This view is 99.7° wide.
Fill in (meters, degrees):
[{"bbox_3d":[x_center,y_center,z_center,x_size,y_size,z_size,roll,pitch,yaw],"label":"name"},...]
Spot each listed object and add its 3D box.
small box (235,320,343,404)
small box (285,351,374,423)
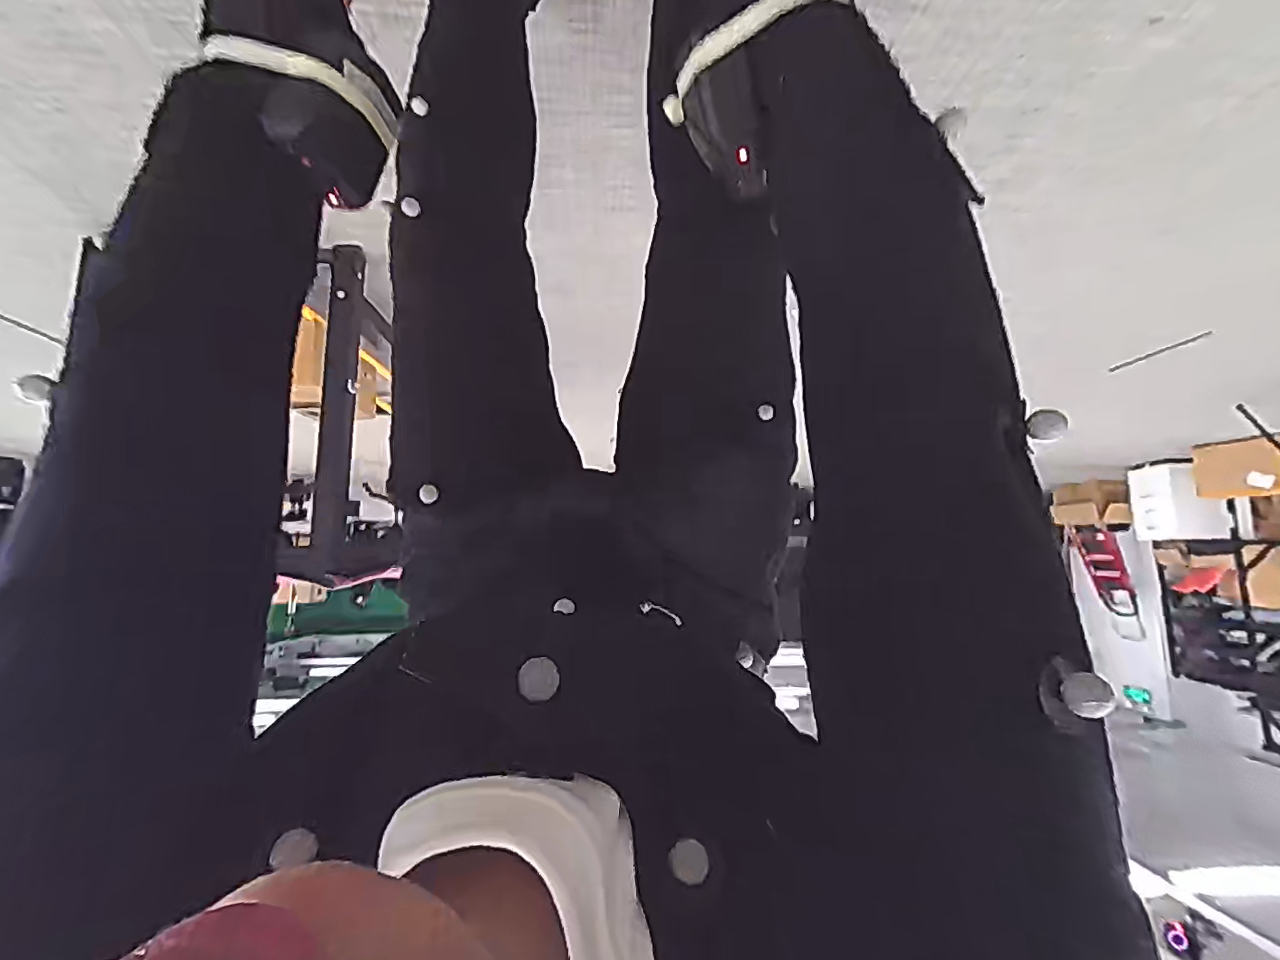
[{"bbox_3d":[-0.878,-0.297,1.370,0.179,0.176,0.168,-2,173,-4],"label":"small box"},{"bbox_3d":[-0.896,-0.270,1.575,0.179,0.176,0.168,-2,173,-4],"label":"small box"}]
